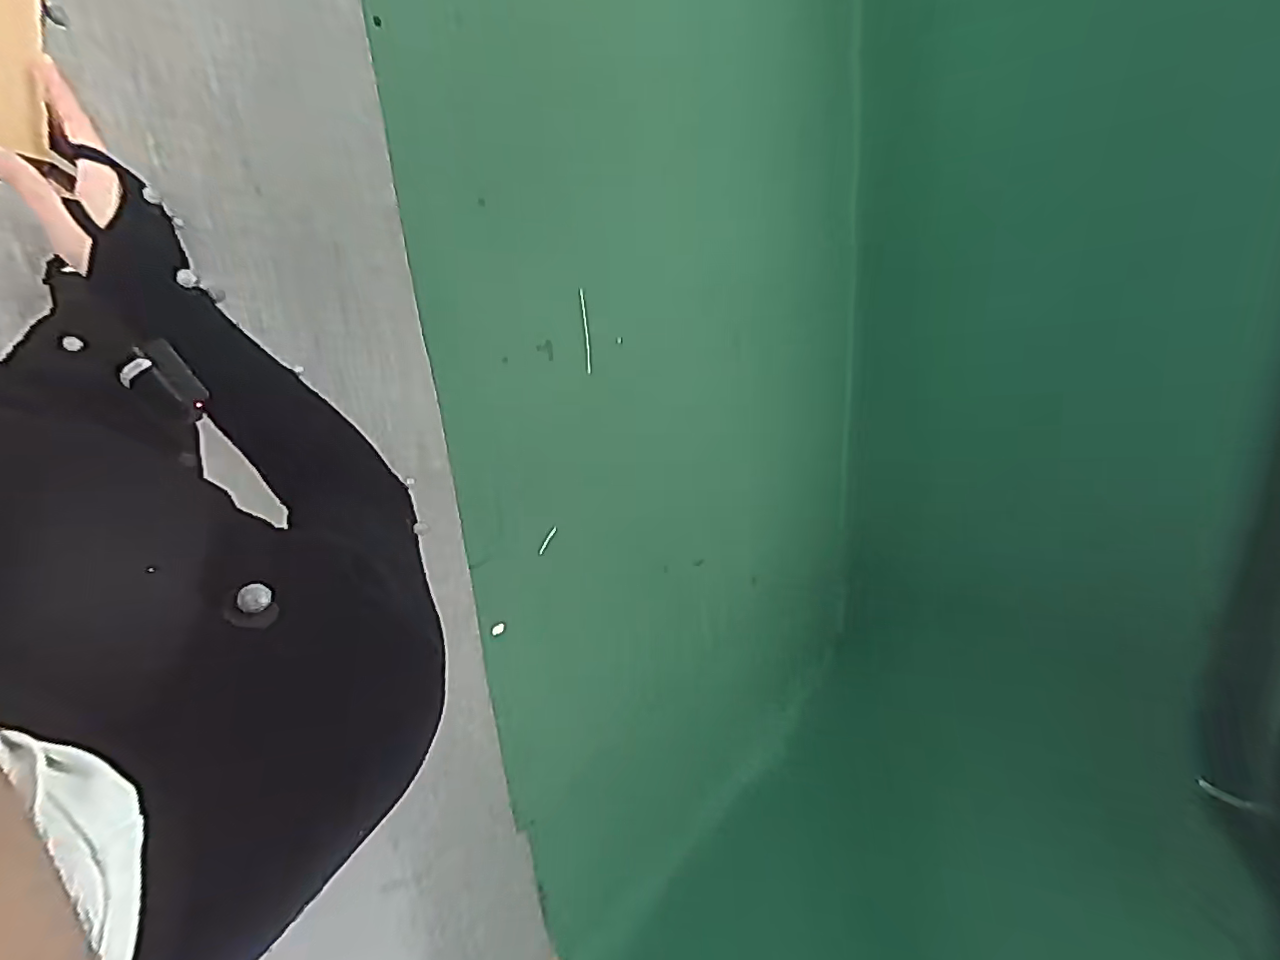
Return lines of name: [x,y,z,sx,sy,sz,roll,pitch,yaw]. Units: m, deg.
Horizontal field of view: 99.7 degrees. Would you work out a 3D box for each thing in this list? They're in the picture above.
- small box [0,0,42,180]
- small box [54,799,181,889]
small box: [-0.562,-0.346,0.392,0.168,0.176,0.179,-3,106,-47]
small box: [-1.150,0.843,1.189,0.168,0.176,0.179,-17,110,-45]
